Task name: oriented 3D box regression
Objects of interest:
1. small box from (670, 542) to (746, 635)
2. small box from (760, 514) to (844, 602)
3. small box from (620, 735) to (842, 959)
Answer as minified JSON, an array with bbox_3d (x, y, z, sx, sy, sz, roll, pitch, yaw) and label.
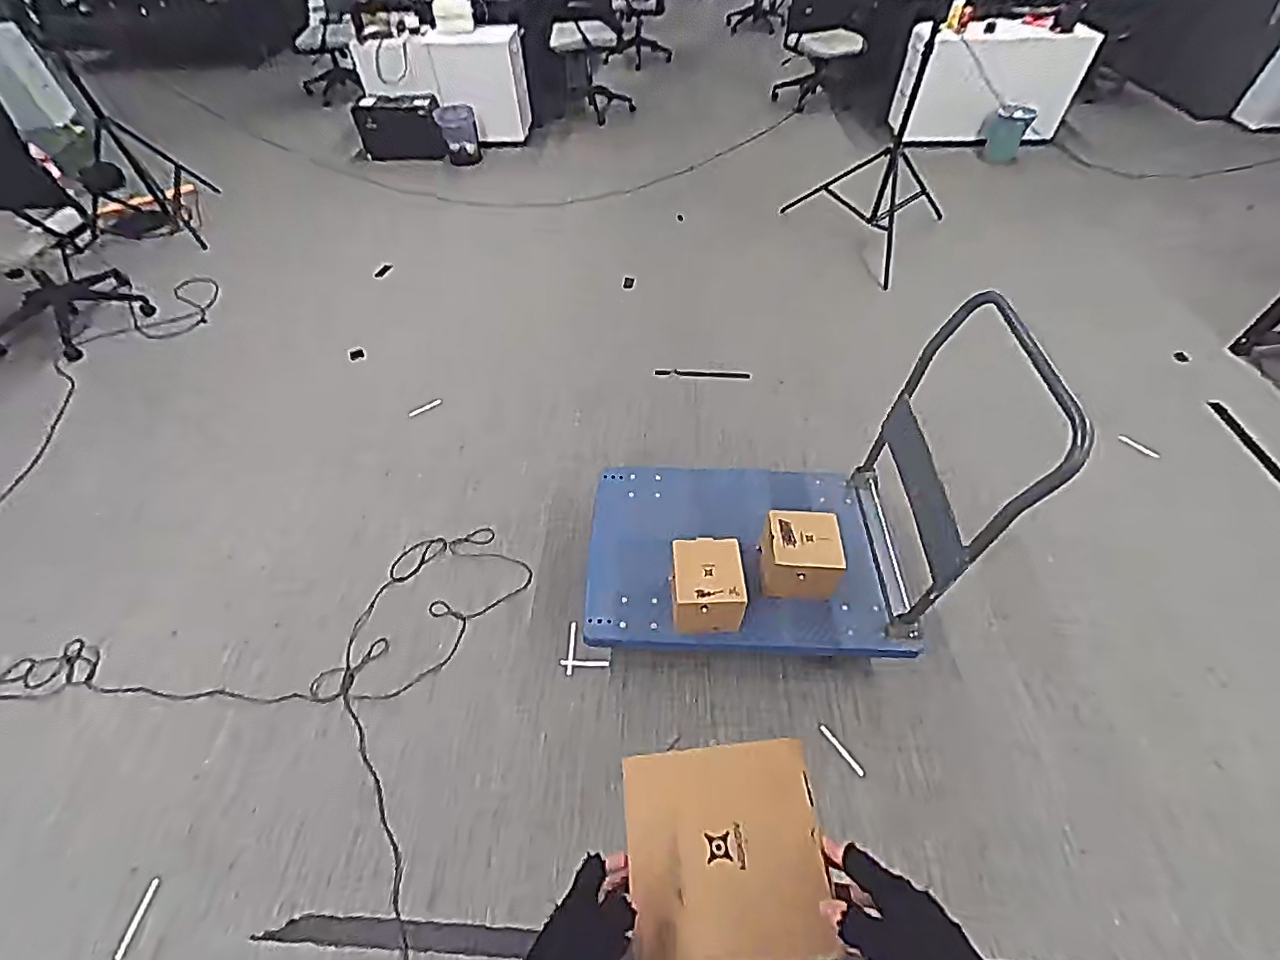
[{"bbox_3d":[0.164,0.275,1.365,0.168,0.176,0.179,-1,49,0],"label":"small box"},{"bbox_3d":[0.414,0.207,1.418,0.179,0.176,0.168,3,50,3],"label":"small box"},{"bbox_3d":[0.082,0.373,0.547,0.179,0.176,0.168,-9,50,4],"label":"small box"}]
